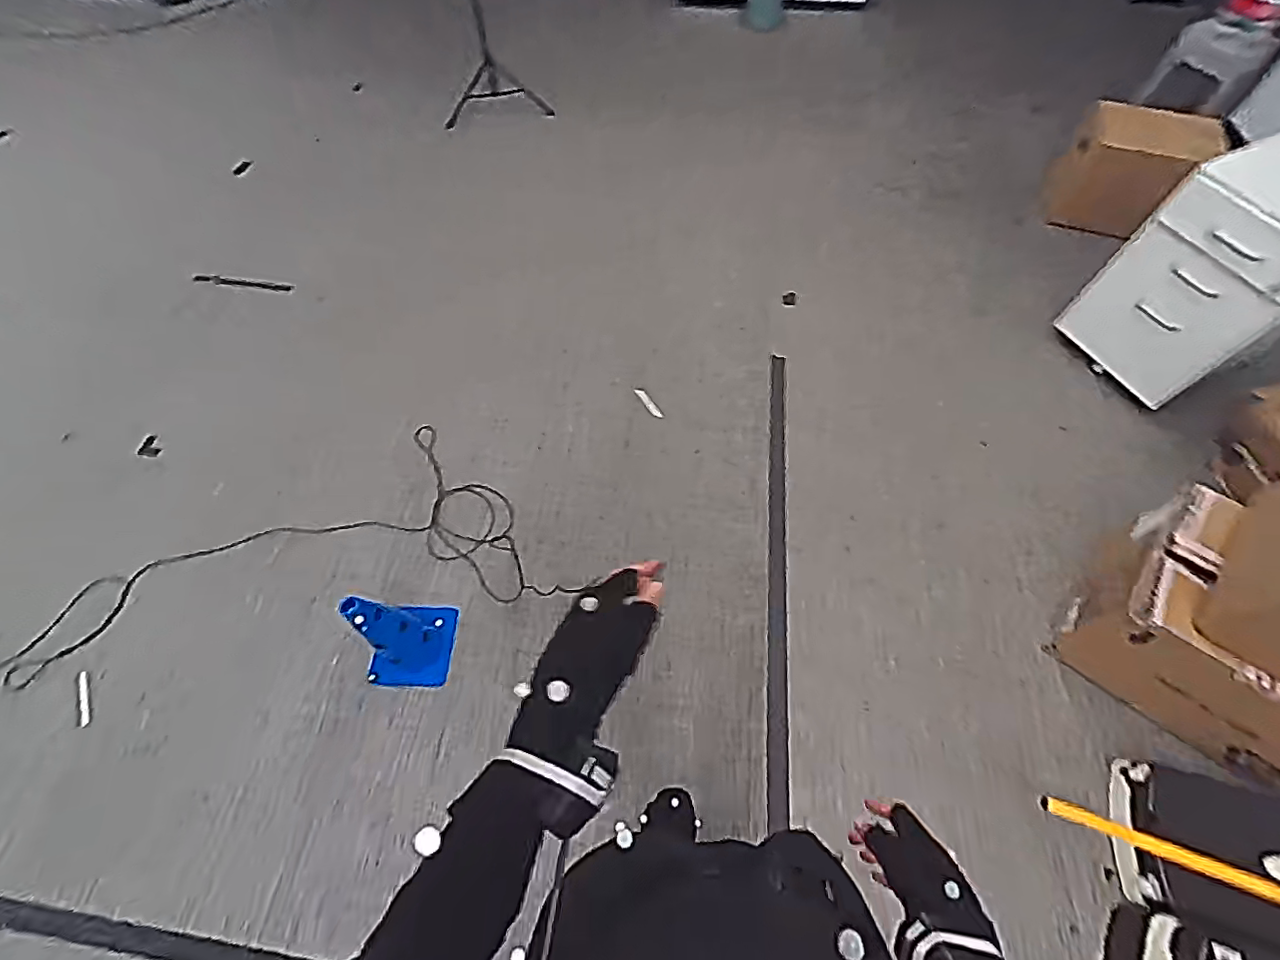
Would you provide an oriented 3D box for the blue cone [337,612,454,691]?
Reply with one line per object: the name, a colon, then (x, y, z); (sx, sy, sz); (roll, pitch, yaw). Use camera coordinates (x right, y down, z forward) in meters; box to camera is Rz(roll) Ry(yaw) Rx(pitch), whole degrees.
blue cone: (-0.579, 0.358, 1.236); (0.193, 0.380, 0.192); (2, 61, 2)
